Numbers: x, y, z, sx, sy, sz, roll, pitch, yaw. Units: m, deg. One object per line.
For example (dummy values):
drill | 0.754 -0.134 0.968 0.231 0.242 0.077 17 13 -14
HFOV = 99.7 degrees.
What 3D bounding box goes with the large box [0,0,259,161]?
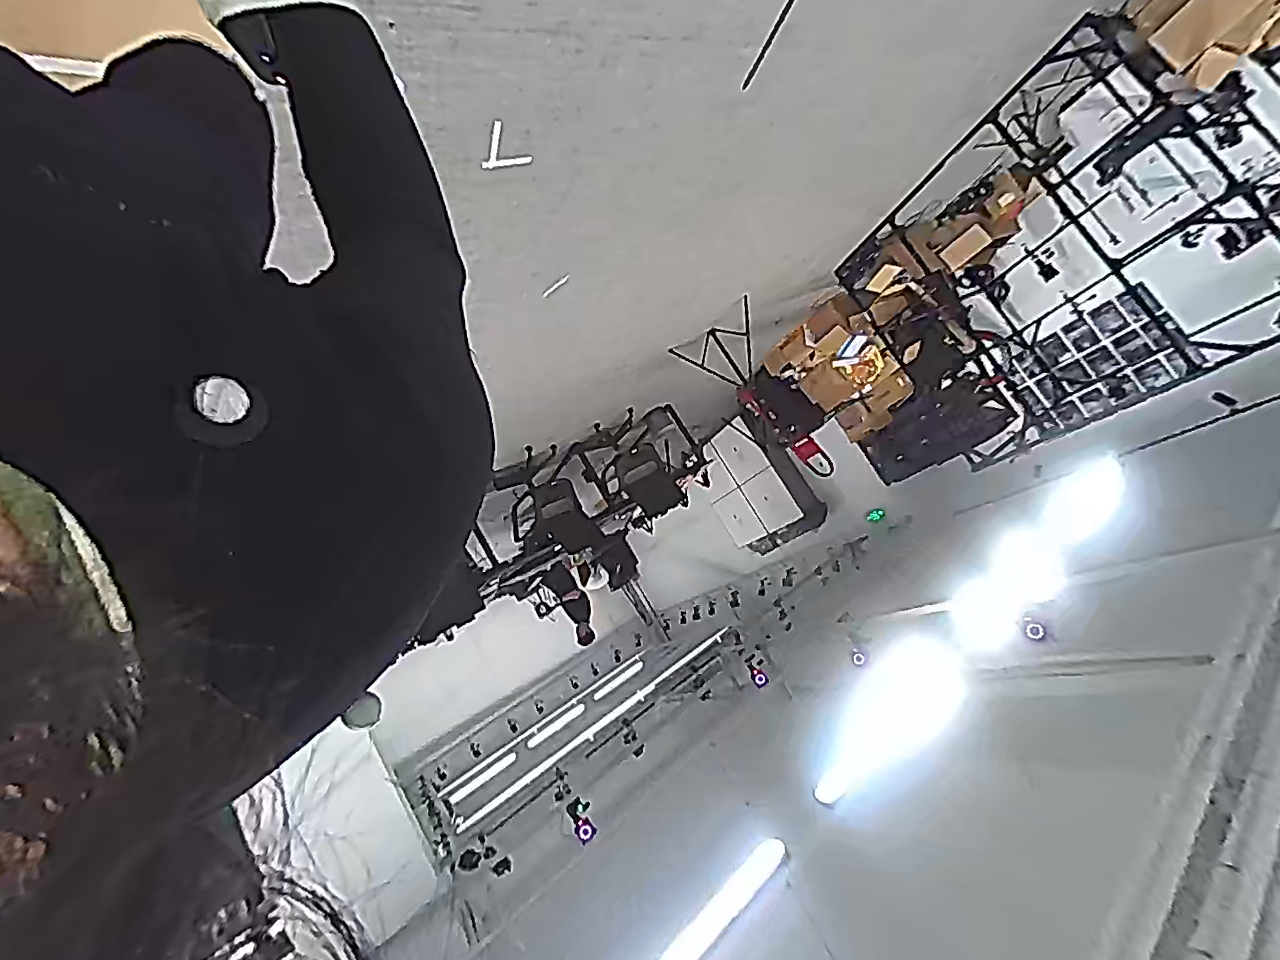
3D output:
large box | -0.858 -0.719 0.793 0.408 0.320 0.320 -26 170 -39
